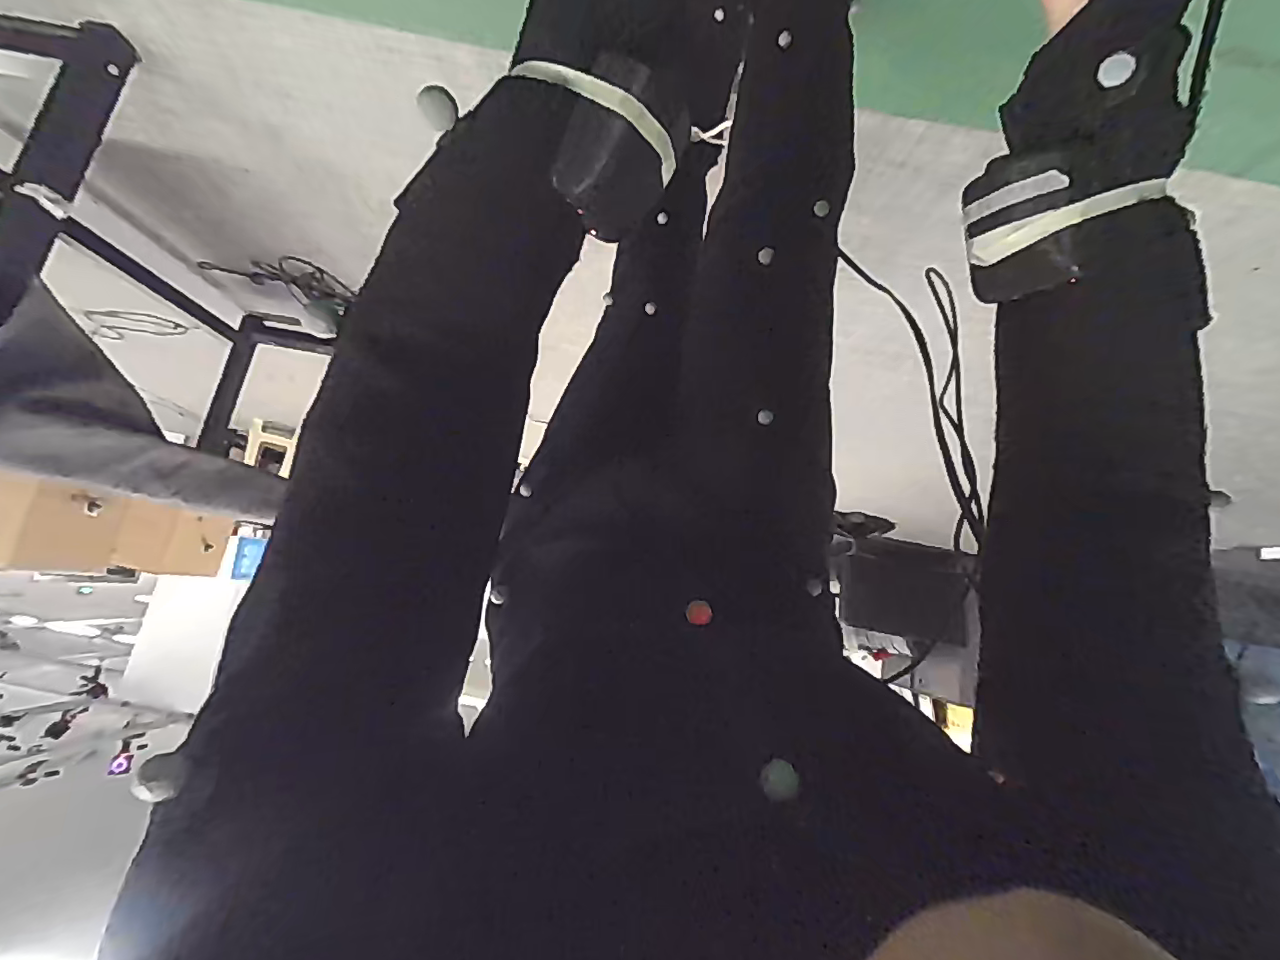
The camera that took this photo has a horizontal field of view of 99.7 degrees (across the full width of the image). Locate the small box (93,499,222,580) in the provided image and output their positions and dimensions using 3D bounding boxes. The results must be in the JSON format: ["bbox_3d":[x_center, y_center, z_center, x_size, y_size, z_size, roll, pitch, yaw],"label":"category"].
[{"bbox_3d":[-1.166,0.146,1.315,0.179,0.176,0.168,9,169,5],"label":"small box"}]

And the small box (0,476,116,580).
[{"bbox_3d":[-1.138,0.084,0.997,0.179,0.176,0.168,8,170,6],"label":"small box"}]
